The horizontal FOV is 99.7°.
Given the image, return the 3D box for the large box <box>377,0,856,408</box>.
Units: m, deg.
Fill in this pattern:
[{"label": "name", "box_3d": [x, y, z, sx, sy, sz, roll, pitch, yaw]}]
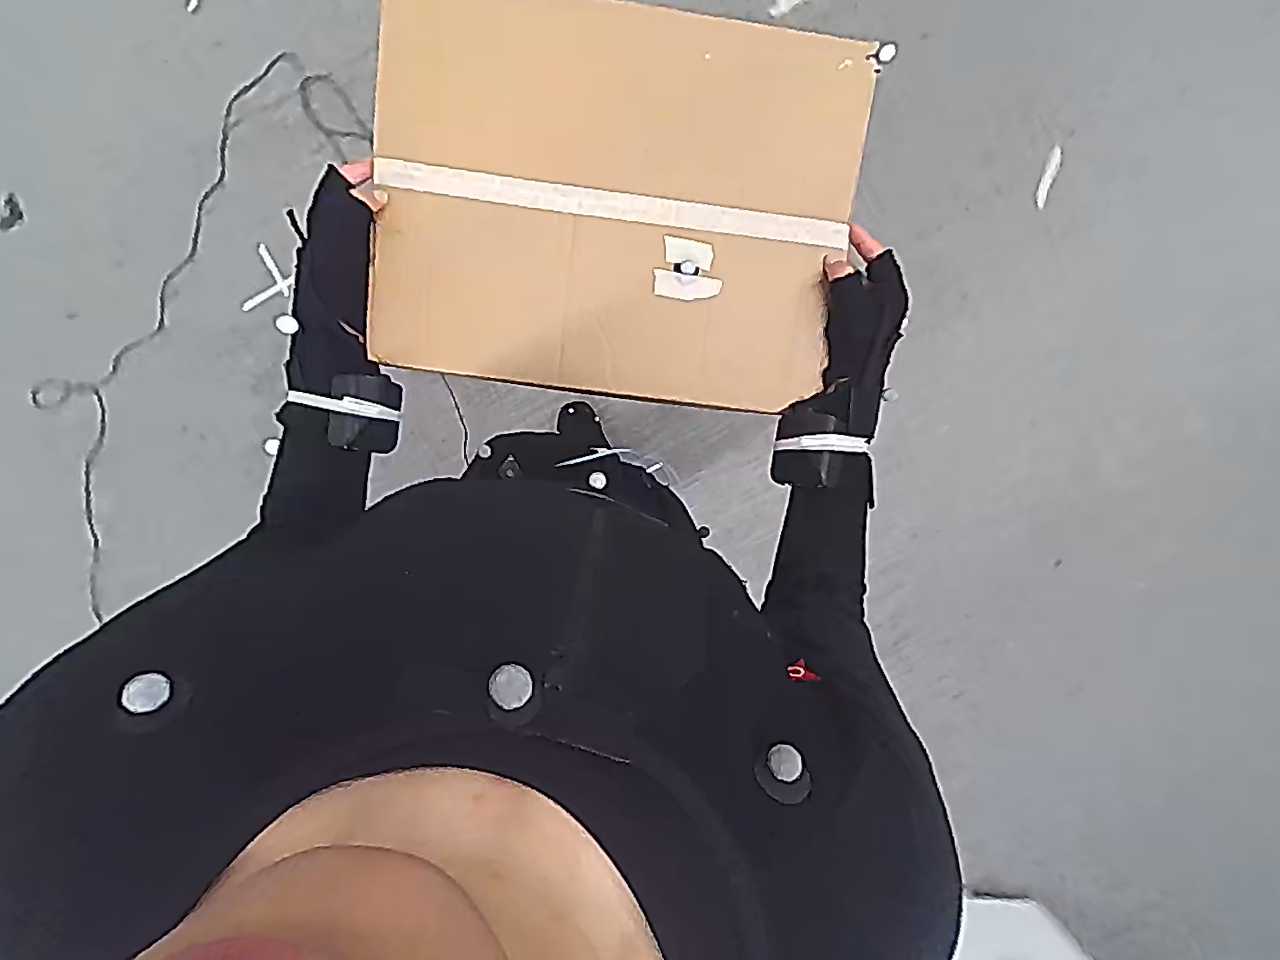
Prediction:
[{"label": "large box", "box_3d": [-0.033, -0.256, 0.618, 0.408, 0.320, 0.320, 6, 99, -4]}]
